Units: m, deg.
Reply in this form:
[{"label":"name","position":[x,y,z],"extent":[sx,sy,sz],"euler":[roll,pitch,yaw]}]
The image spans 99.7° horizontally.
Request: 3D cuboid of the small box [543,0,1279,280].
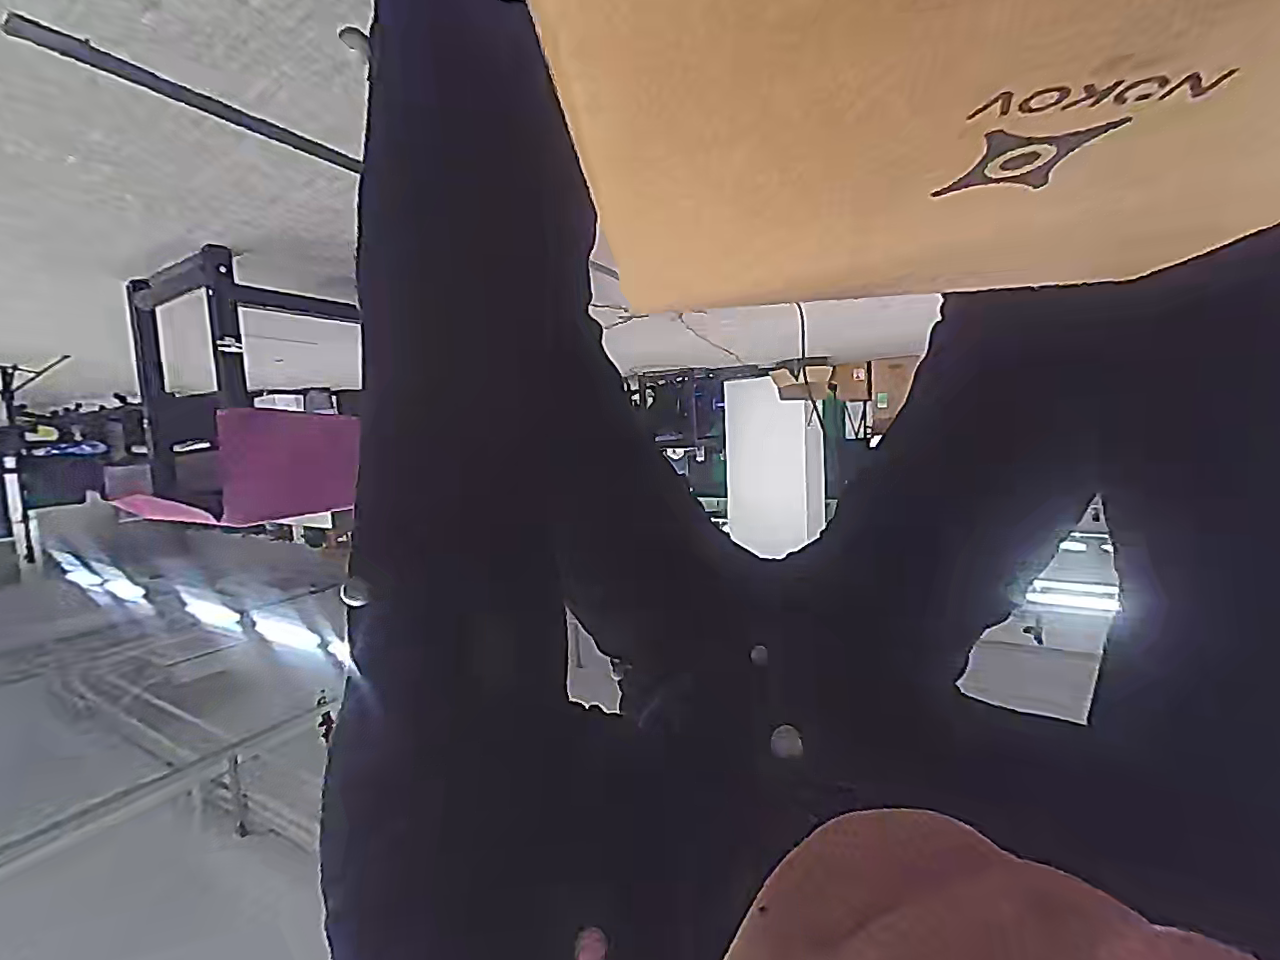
[{"label":"small box","position":[0.067,-0.147,0.089],"extent":[0.168,0.176,0.179],"euler":[-3,-177,3]}]
